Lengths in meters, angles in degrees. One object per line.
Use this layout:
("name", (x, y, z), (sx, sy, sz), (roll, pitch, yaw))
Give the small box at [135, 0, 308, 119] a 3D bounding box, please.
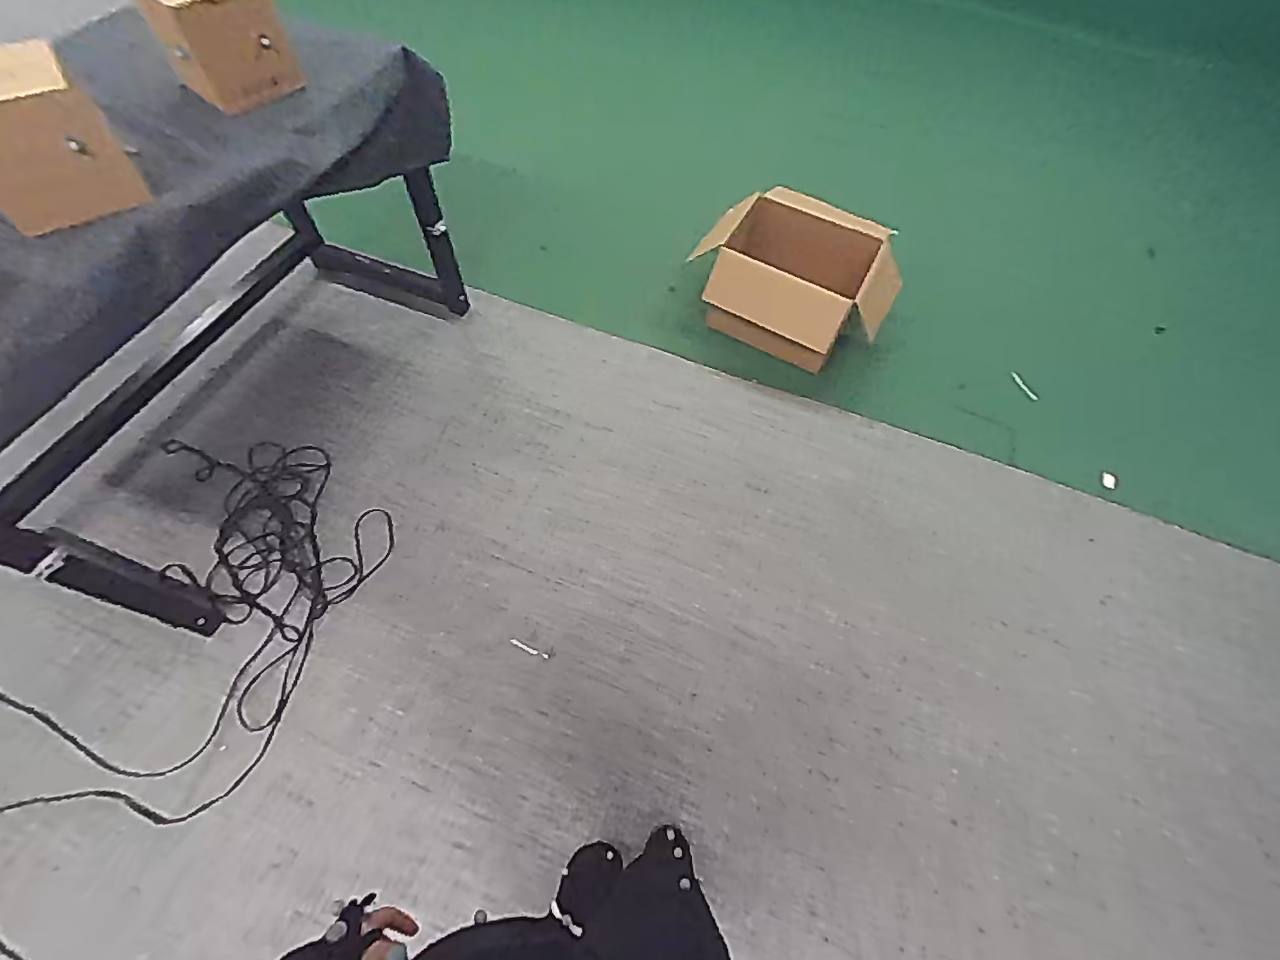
("small box", (-0.765, -0.806, 1.002), (0.179, 0.176, 0.168), (36, 64, 18))
